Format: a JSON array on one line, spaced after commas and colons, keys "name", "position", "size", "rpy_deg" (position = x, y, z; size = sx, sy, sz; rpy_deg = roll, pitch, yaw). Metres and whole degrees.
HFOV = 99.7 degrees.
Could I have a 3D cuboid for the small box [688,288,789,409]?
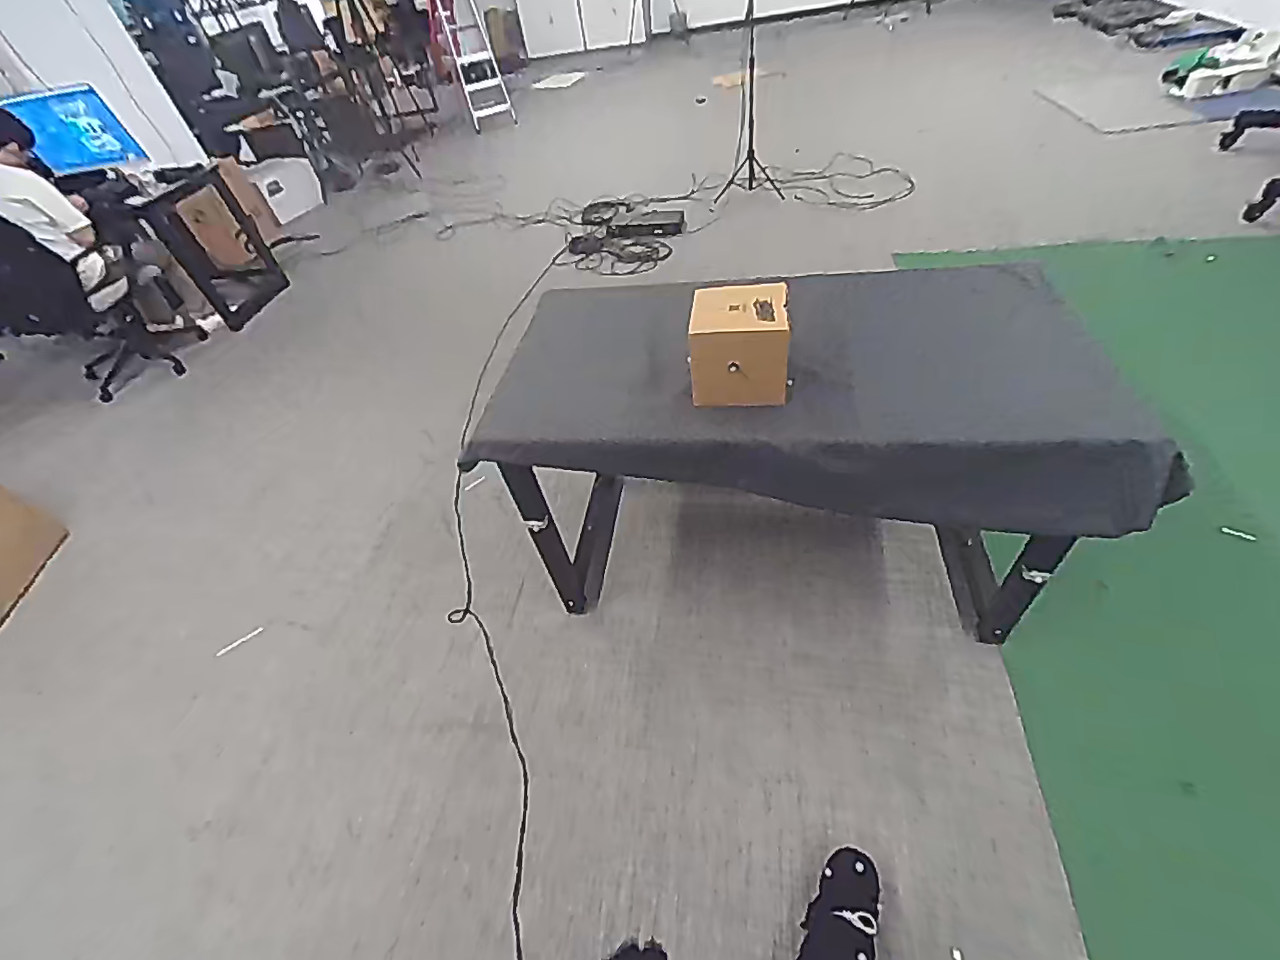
[{"name": "small box", "position": [0.194, -0.251, 1.051], "size": [0.179, 0.176, 0.168], "rpy_deg": [0, 47, 13]}]
